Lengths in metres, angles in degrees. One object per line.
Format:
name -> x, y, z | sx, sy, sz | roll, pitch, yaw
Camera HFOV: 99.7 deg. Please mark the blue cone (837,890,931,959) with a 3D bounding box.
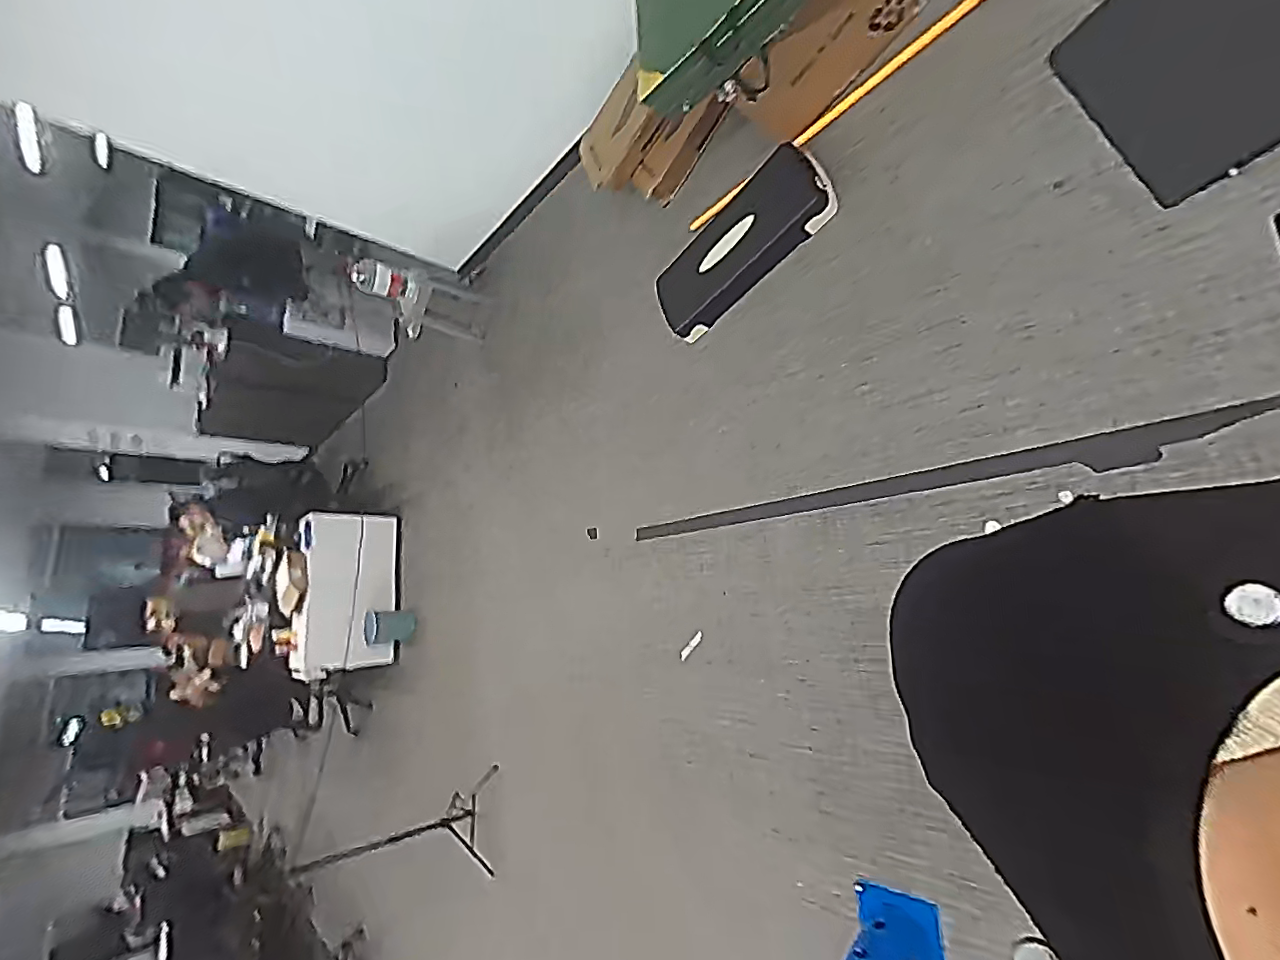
blue cone -> 0.476, 1.092, 1.181 | 0.192, 0.380, 0.193 | -15, 73, 47
